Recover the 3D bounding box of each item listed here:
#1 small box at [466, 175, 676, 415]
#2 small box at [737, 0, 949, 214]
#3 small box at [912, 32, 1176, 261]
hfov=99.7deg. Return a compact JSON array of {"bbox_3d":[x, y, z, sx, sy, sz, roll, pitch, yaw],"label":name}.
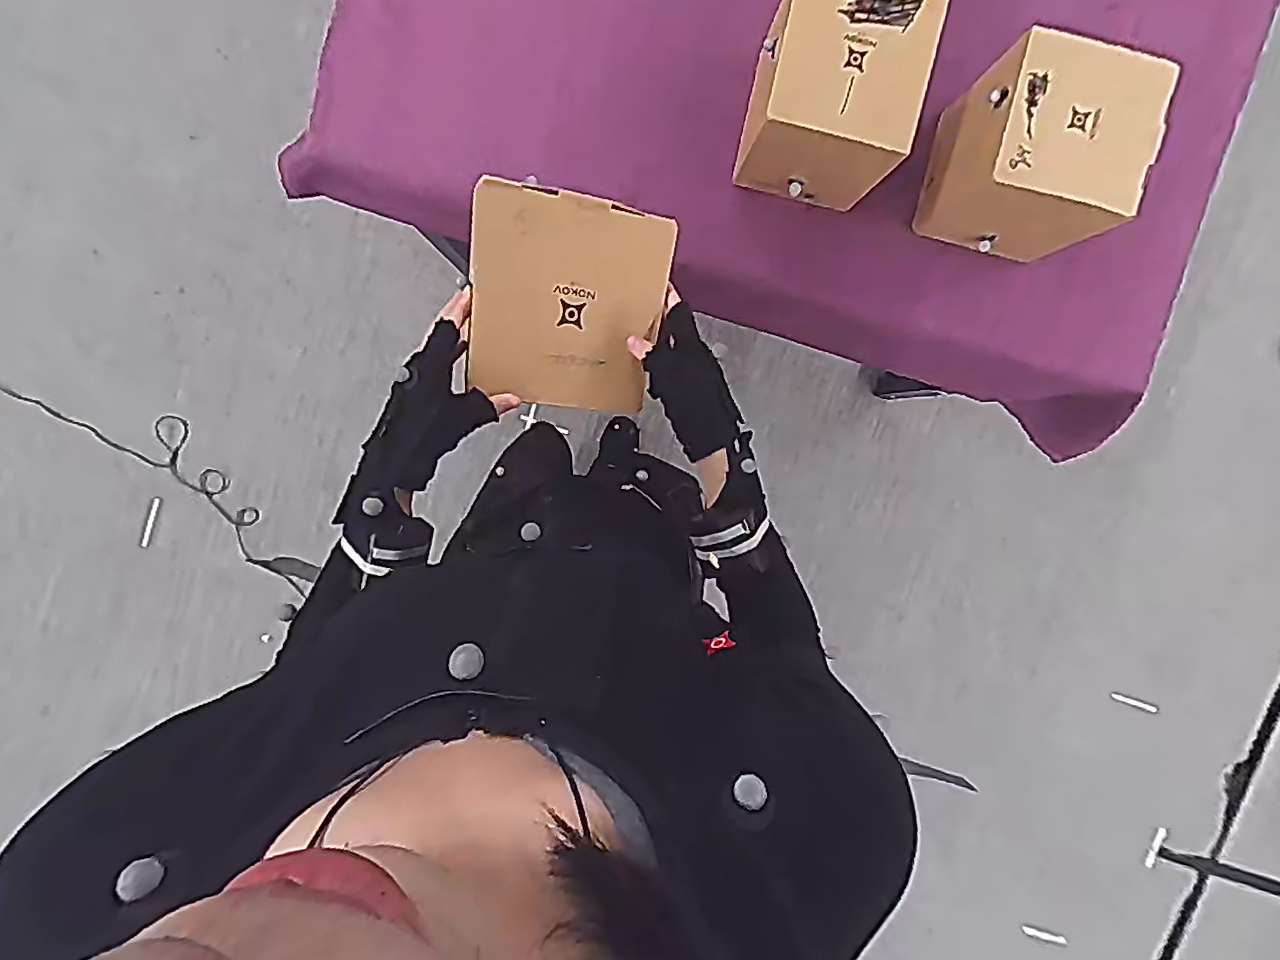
[{"bbox_3d":[-0.081,-0.177,0.533,0.168,0.176,0.179,3,112,-18],"label":"small box"},{"bbox_3d":[0.227,-0.456,0.652,0.168,0.176,0.179,12,95,-4],"label":"small box"},{"bbox_3d":[0.481,-0.391,0.671,0.179,0.176,0.168,13,94,-4],"label":"small box"}]
